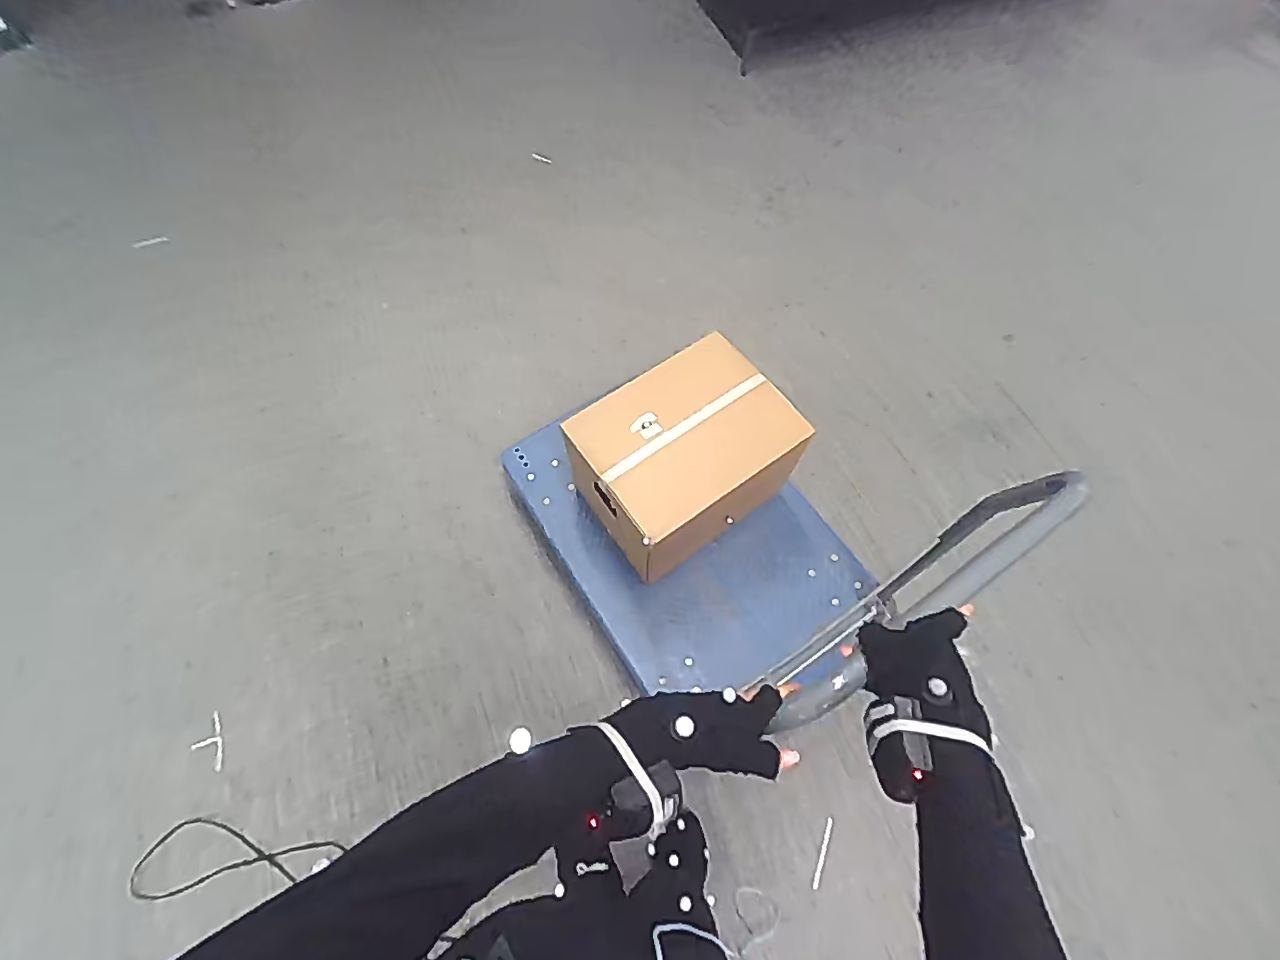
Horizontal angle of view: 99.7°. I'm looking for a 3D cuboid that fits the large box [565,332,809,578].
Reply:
[{"bbox_3d":[0.096,-0.045,1.213,0.408,0.320,0.320,-34,70,-13],"label":"large box"}]
